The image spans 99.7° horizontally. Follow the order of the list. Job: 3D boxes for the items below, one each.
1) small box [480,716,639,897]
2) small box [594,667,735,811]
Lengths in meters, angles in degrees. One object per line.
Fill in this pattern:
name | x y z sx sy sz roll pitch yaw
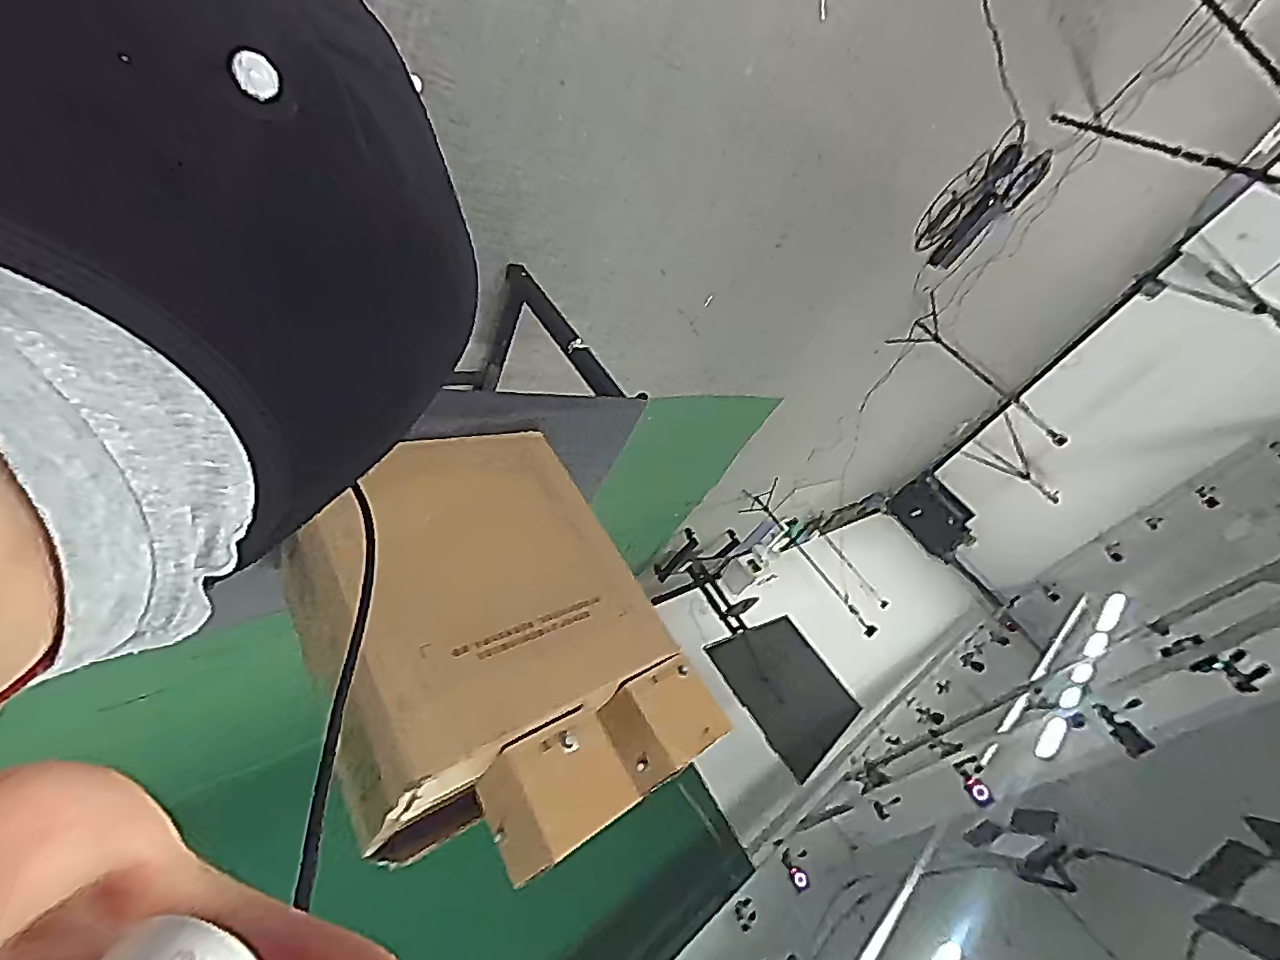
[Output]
small box | -0.137 0.514 0.868 0.168 0.176 0.179 -11 144 -43
small box | 0.038 0.481 1.029 0.168 0.176 0.179 -10 145 -44
